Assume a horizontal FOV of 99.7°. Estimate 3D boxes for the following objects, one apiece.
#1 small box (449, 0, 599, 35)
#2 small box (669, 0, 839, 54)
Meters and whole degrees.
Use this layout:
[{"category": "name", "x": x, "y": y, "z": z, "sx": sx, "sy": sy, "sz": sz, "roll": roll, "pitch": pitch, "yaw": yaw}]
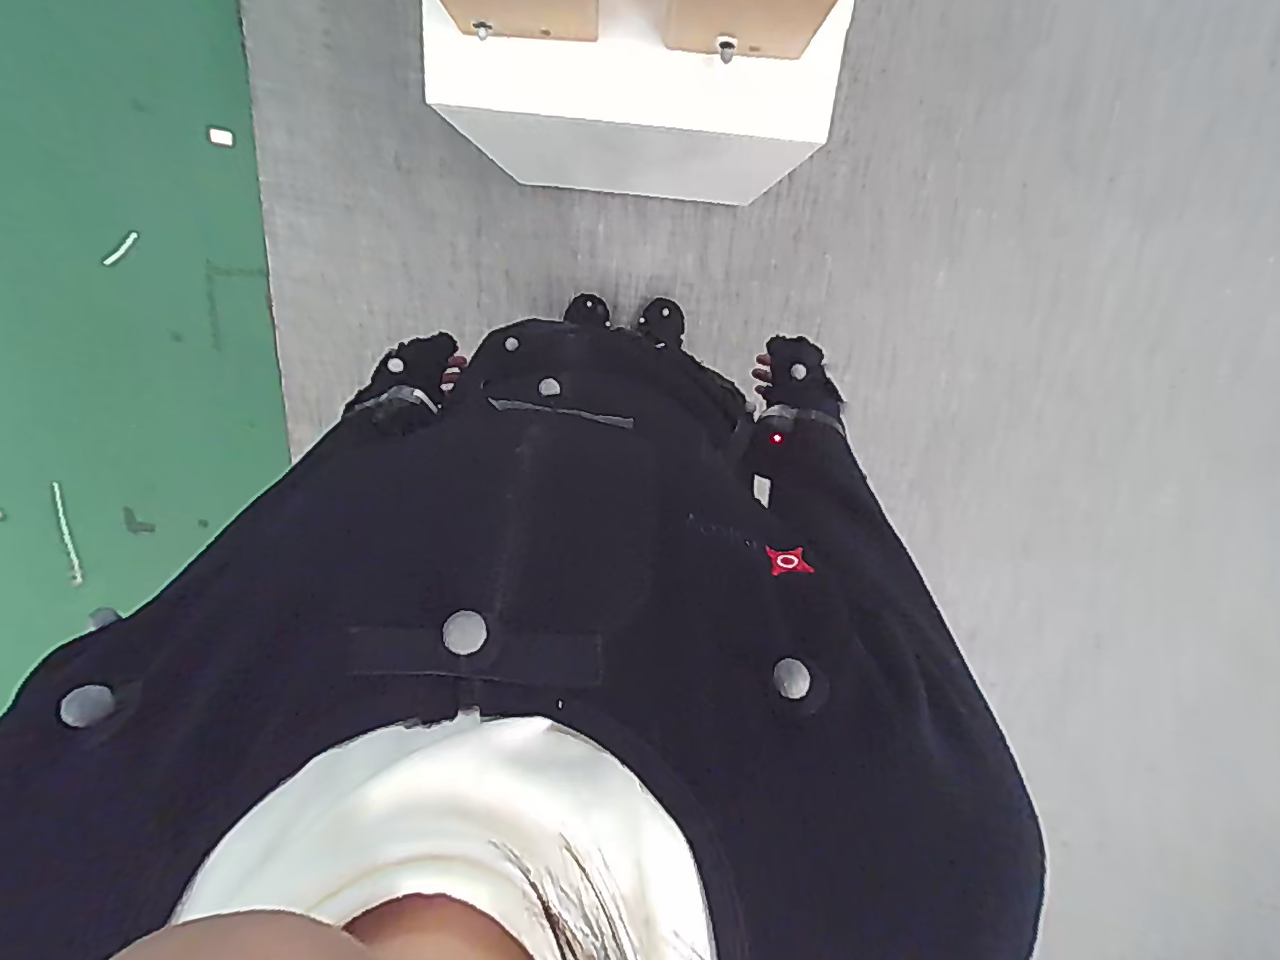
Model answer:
[{"category": "small box", "x": -0.128, "y": -0.589, "z": 0.546, "sx": 0.168, "sy": 0.176, "sz": 0.179, "roll": 2, "pitch": 108, "yaw": 0}, {"category": "small box", "x": 0.117, "y": -0.564, "z": 0.537, "sx": 0.168, "sy": 0.176, "sz": 0.179, "roll": 3, "pitch": 111, "yaw": 1}]
